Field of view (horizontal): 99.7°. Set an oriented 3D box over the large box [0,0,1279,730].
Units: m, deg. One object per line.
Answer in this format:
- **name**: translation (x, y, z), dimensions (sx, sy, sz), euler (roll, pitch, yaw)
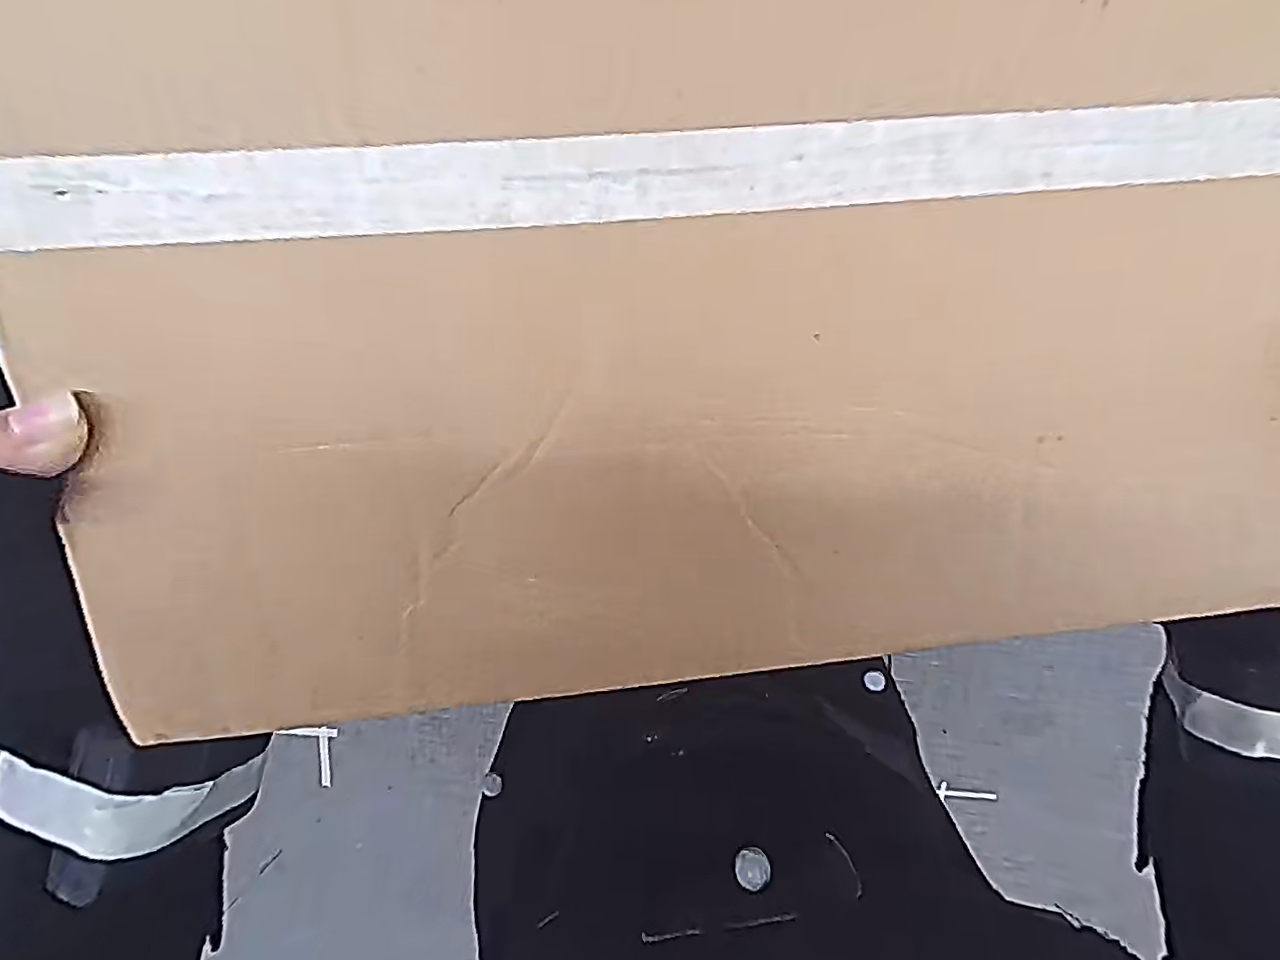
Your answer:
- **large box**: translation (0.013, -0.117, 0.309), dimensions (0.408, 0.320, 0.320), euler (-6, 103, -4)
